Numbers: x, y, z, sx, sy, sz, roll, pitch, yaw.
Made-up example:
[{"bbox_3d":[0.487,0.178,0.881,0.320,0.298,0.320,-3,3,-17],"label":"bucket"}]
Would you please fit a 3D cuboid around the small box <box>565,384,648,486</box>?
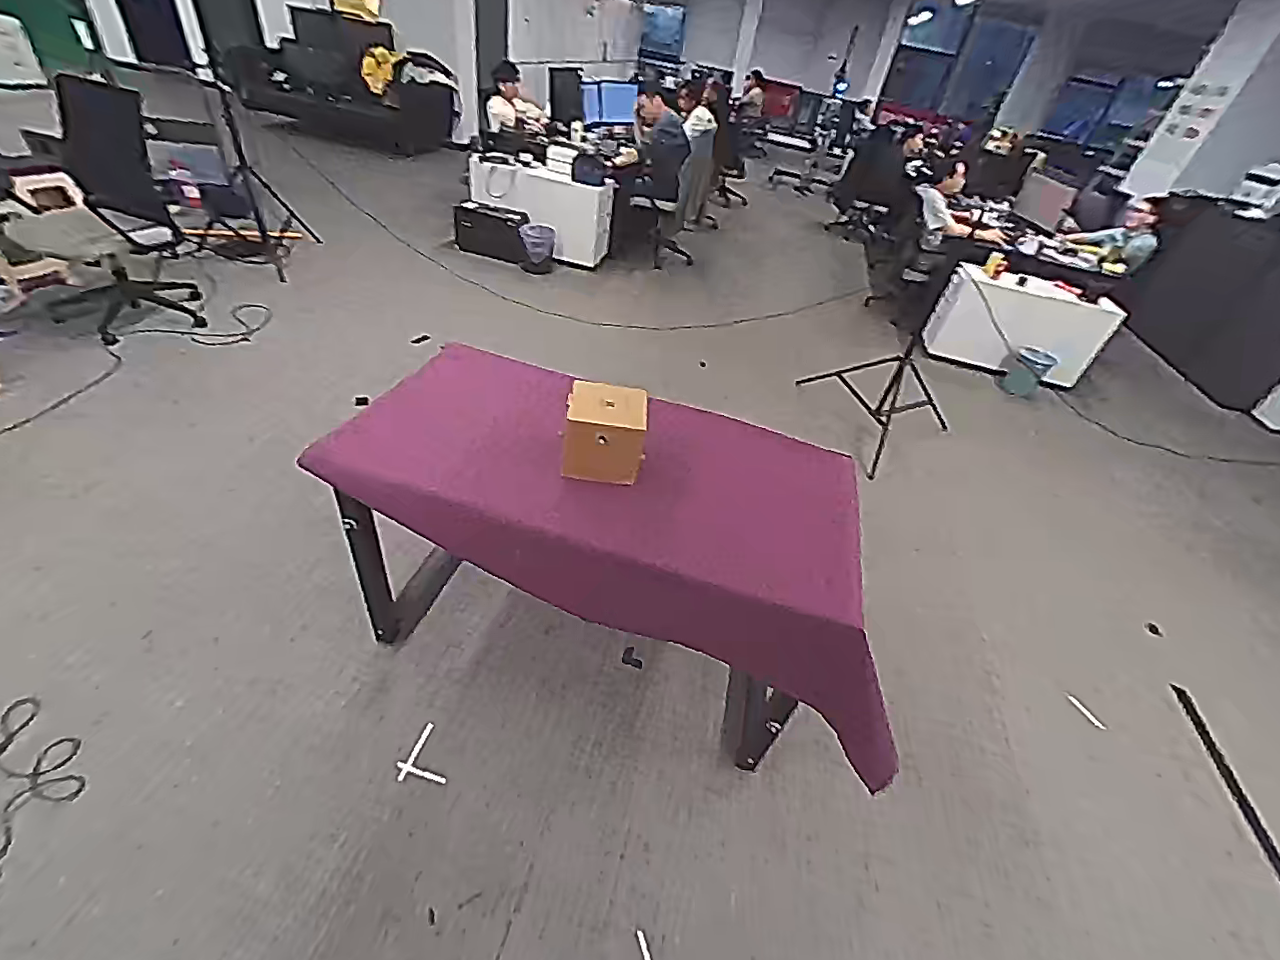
[{"bbox_3d":[-0.079,-0.104,1.269,0.179,0.176,0.168,7,41,-5],"label":"small box"}]
